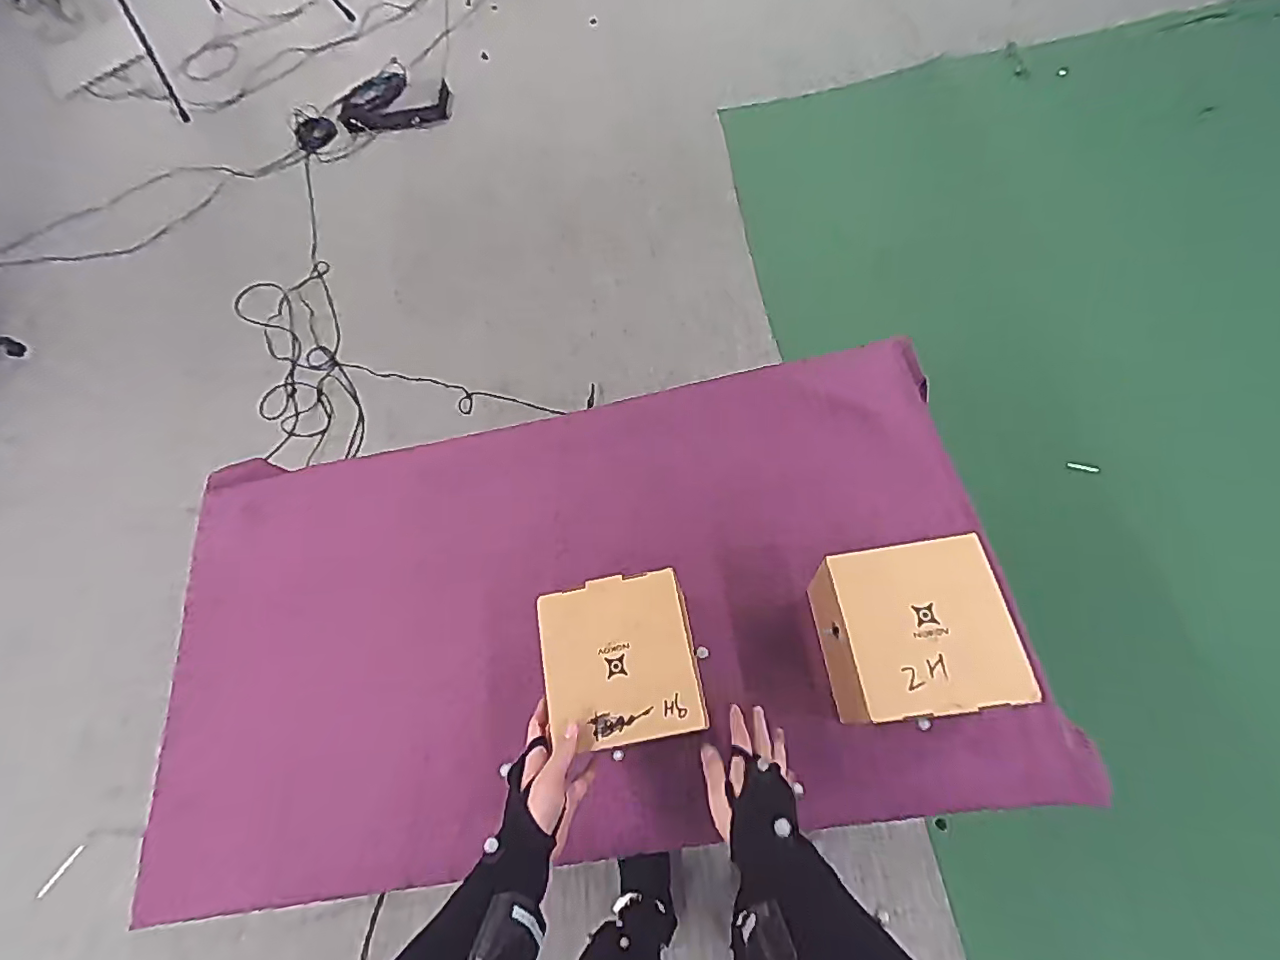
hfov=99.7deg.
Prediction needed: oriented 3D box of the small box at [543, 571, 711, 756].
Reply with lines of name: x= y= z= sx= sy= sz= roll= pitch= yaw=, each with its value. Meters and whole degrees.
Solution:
small box: x=-0.011 y=0.231 z=0.668 sx=0.168 sy=0.176 sz=0.179 roll=-13 pitch=64 yaw=4

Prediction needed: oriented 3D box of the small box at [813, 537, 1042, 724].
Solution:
small box: x=0.312 y=0.185 z=0.636 sx=0.168 sy=0.176 sz=0.179 roll=-10 pitch=65 yaw=6
